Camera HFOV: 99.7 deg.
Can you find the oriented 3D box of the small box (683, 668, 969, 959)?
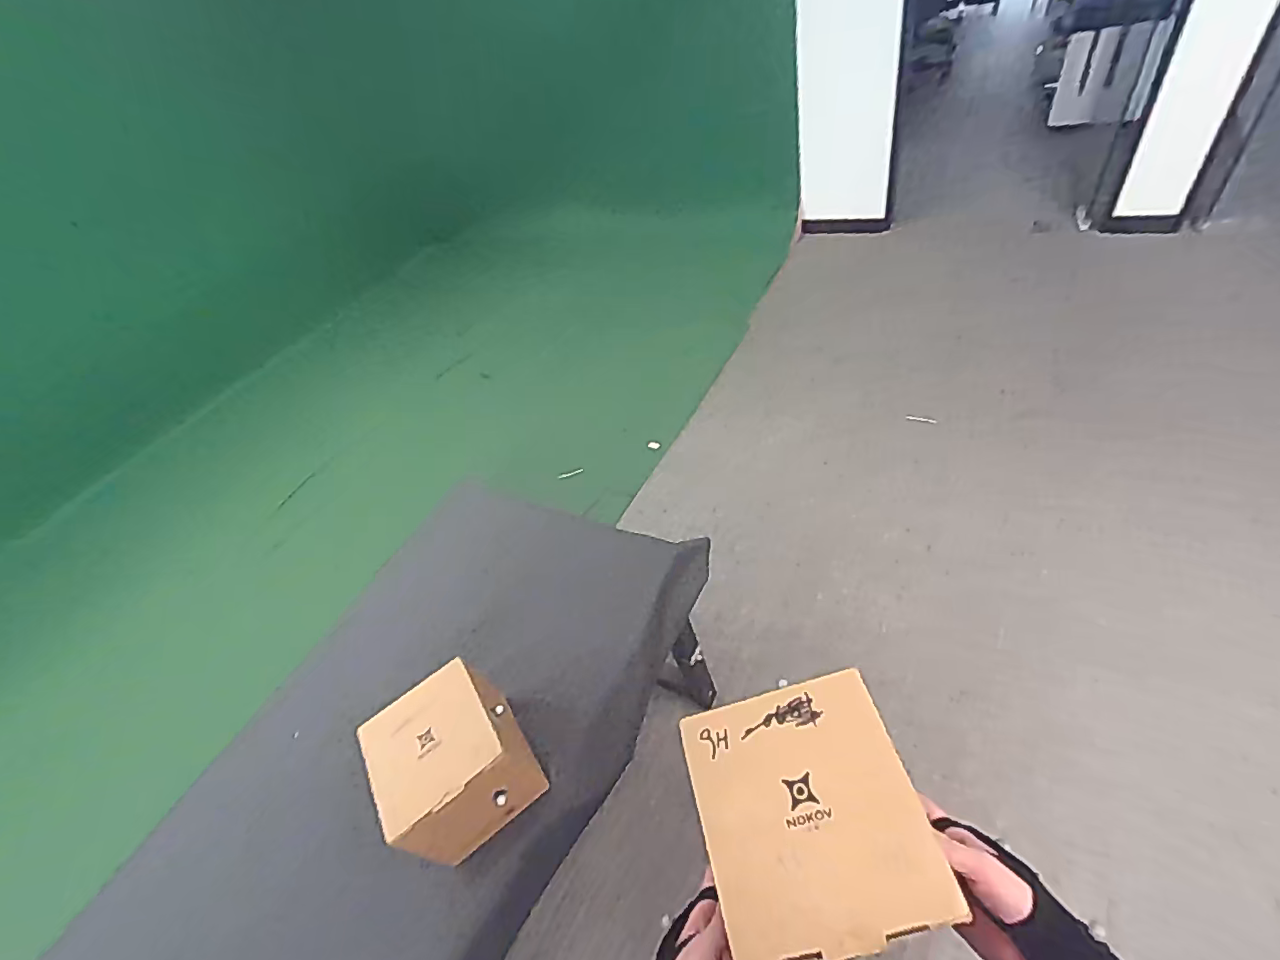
[{"bbox_3d":[0.149,0.296,0.481,0.168,0.176,0.179,-17,50,4],"label":"small box"}]

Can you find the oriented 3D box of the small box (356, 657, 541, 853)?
[{"bbox_3d":[-0.268,0.400,0.779,0.168,0.176,0.179,-35,47,-16],"label":"small box"}]
